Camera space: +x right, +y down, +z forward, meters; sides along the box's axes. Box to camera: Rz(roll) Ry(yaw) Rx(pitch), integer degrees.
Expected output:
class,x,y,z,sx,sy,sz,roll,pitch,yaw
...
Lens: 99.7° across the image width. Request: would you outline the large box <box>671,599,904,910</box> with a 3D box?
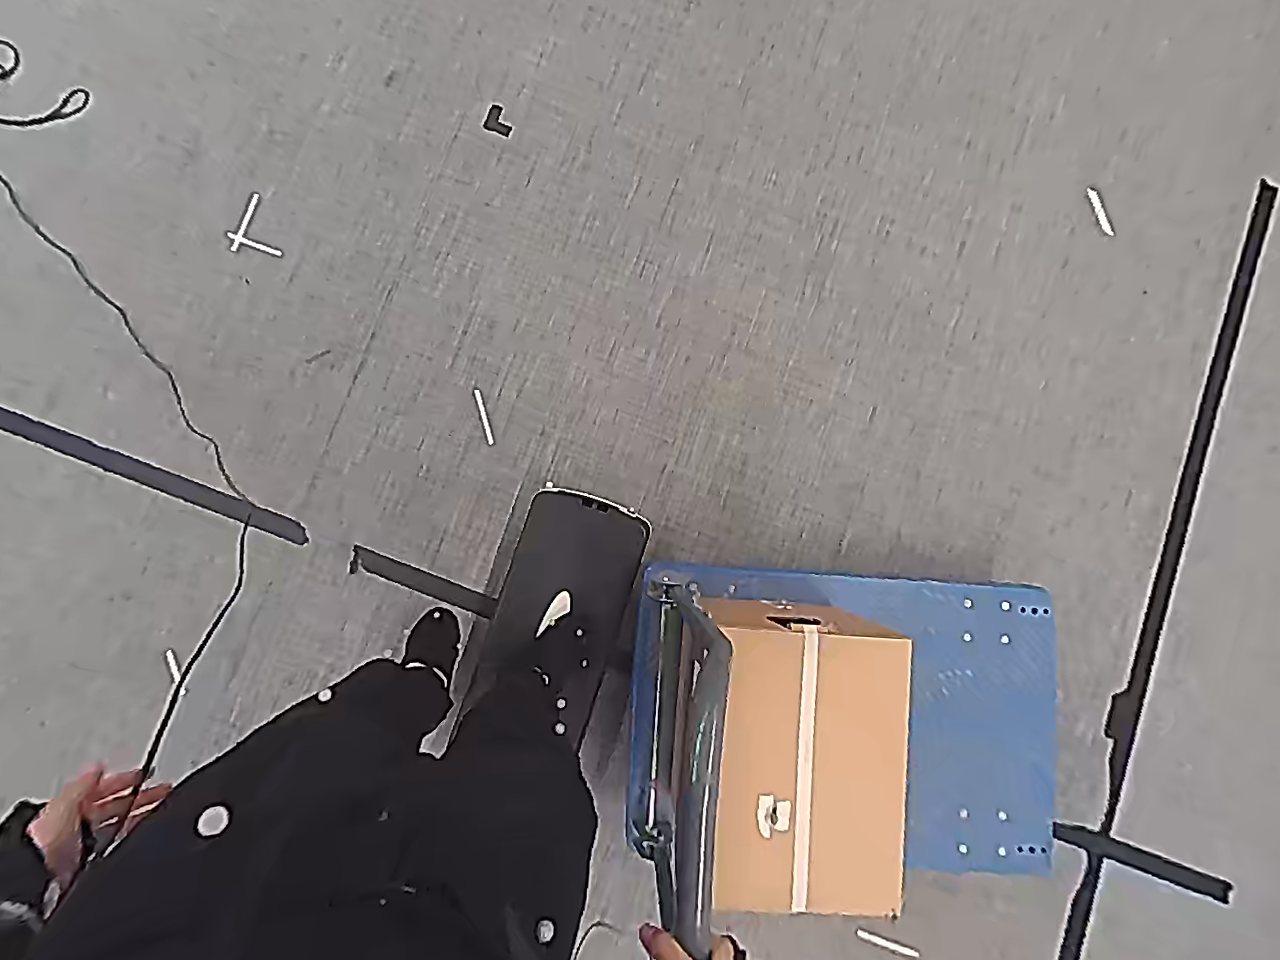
class,x,y,z,sx,sy,sz,roll,pitch,yaw
large box,0.232,0.438,0.956,0.320,0.320,0.408,5,86,-2
